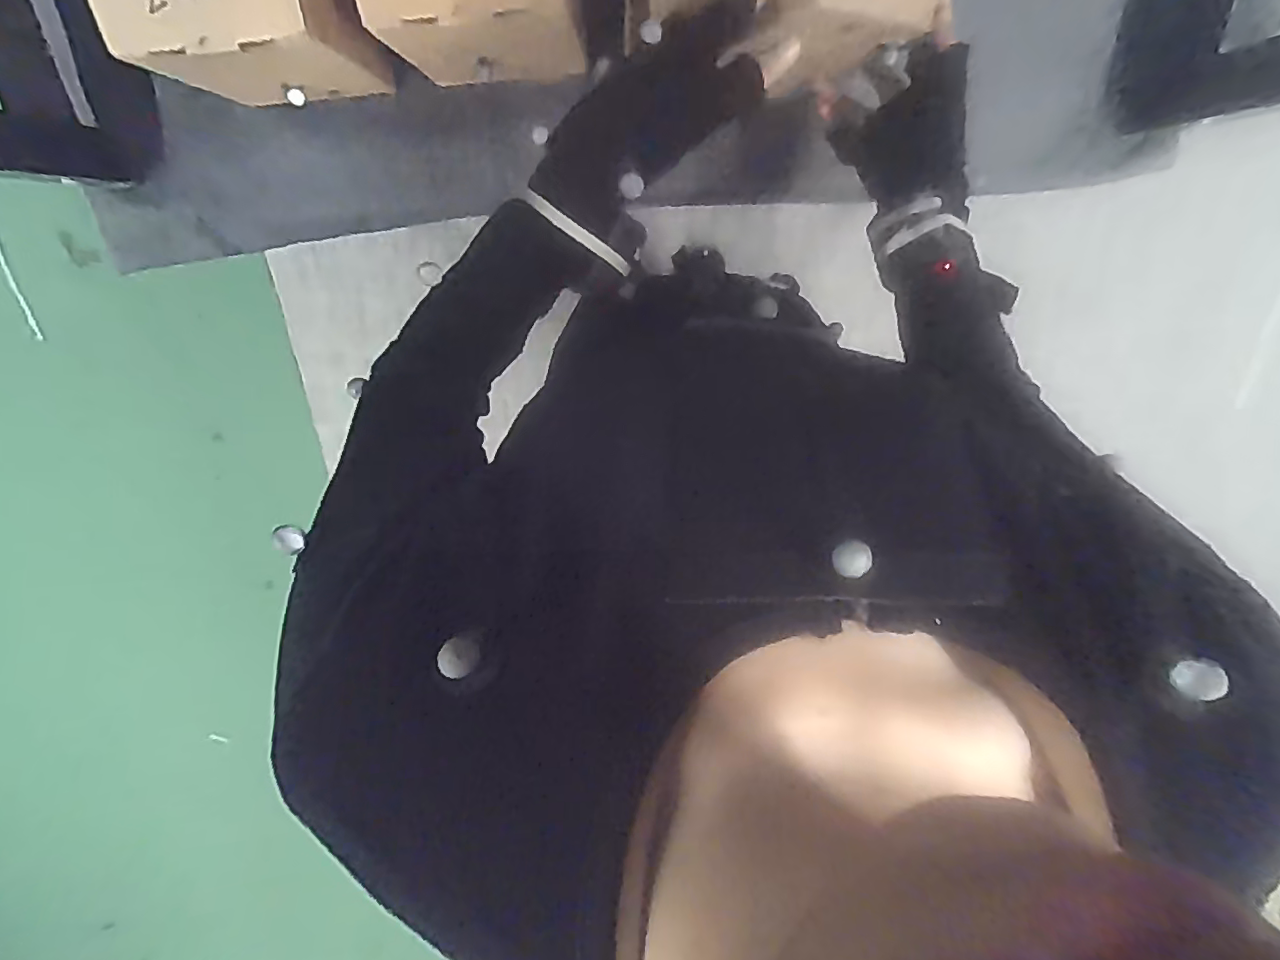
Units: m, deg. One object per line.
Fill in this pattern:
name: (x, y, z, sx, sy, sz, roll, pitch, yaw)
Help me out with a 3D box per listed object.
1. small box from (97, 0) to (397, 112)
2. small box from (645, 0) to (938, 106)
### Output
small box: (-0.344, -0.453, 0.476, 0.168, 0.176, 0.179, -4, 113, 2)
small box: (0.115, -0.418, 0.414, 0.168, 0.176, 0.179, -22, 116, -34)
